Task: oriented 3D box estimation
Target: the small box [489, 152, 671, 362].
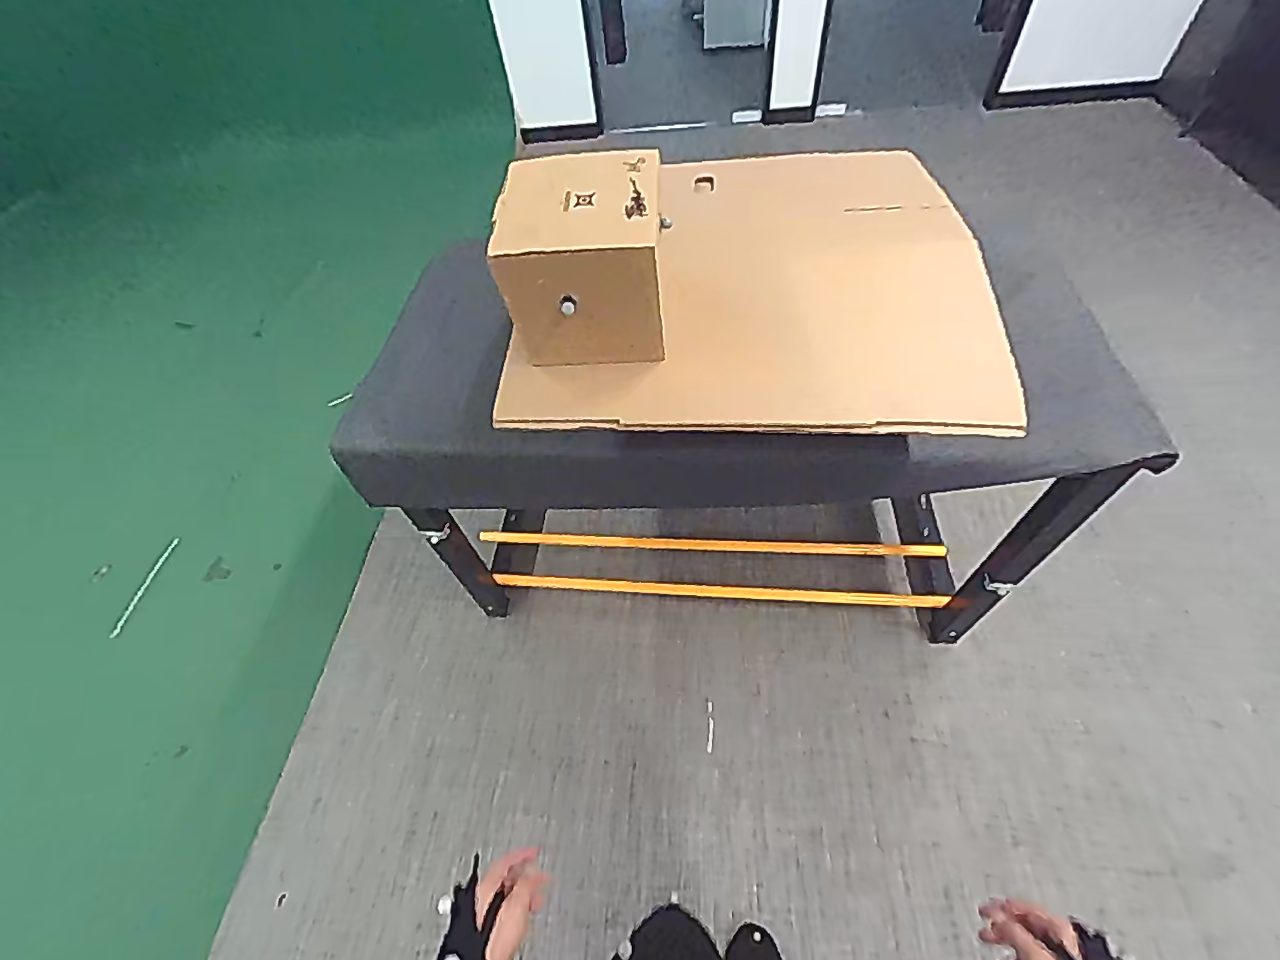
[{"bbox_3d":[-0.057,-0.258,0.652,0.179,0.176,0.168,-1,61,7],"label":"small box"}]
